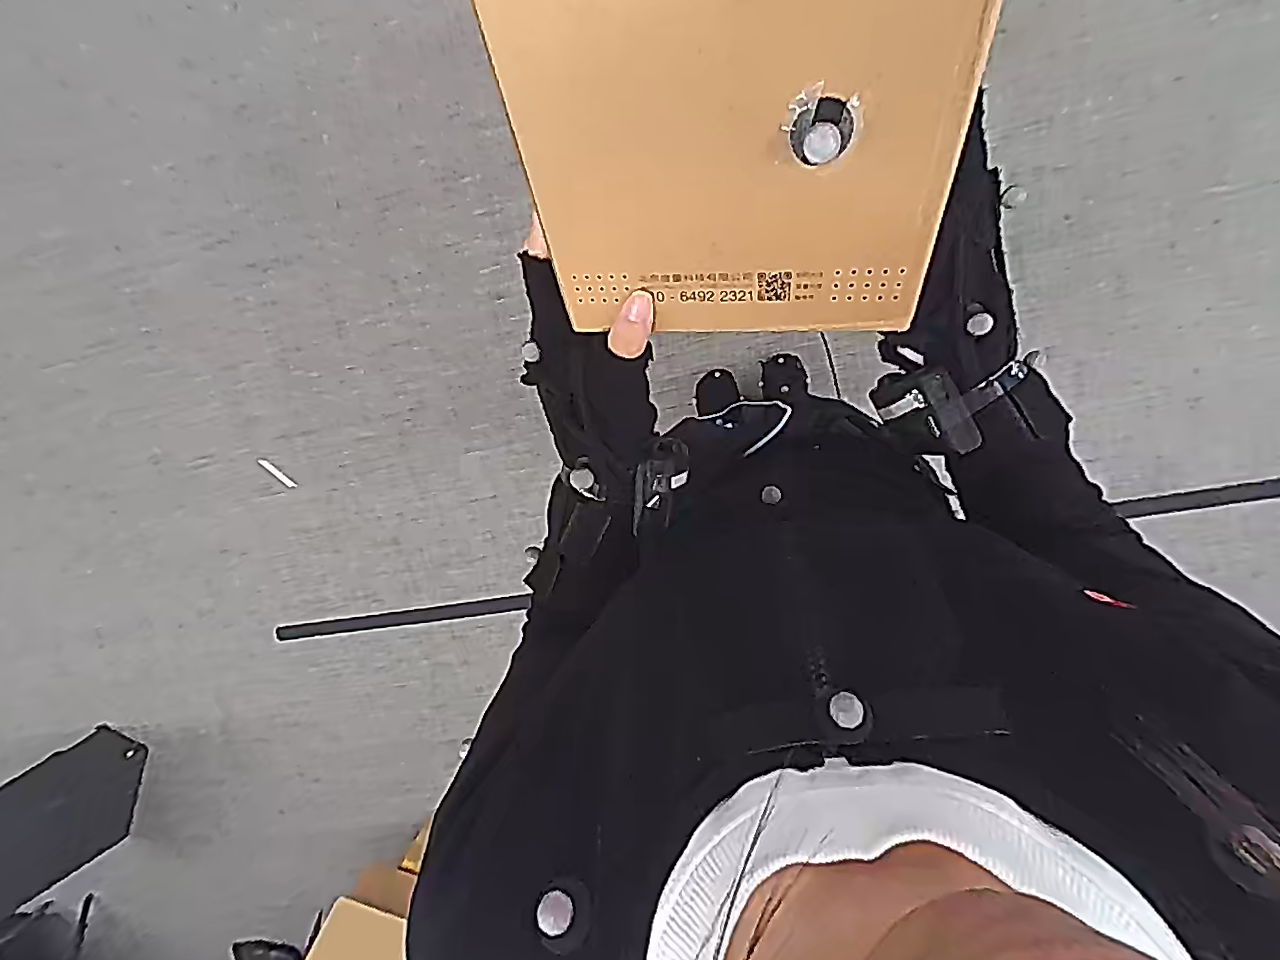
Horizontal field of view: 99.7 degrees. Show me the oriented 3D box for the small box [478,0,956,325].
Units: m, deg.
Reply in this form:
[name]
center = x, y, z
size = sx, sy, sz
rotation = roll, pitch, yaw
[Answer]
[small box]
center = 0.050, -0.194, 0.270
size = 0.168, 0.179, 0.176
rotation = 5, 144, 15
